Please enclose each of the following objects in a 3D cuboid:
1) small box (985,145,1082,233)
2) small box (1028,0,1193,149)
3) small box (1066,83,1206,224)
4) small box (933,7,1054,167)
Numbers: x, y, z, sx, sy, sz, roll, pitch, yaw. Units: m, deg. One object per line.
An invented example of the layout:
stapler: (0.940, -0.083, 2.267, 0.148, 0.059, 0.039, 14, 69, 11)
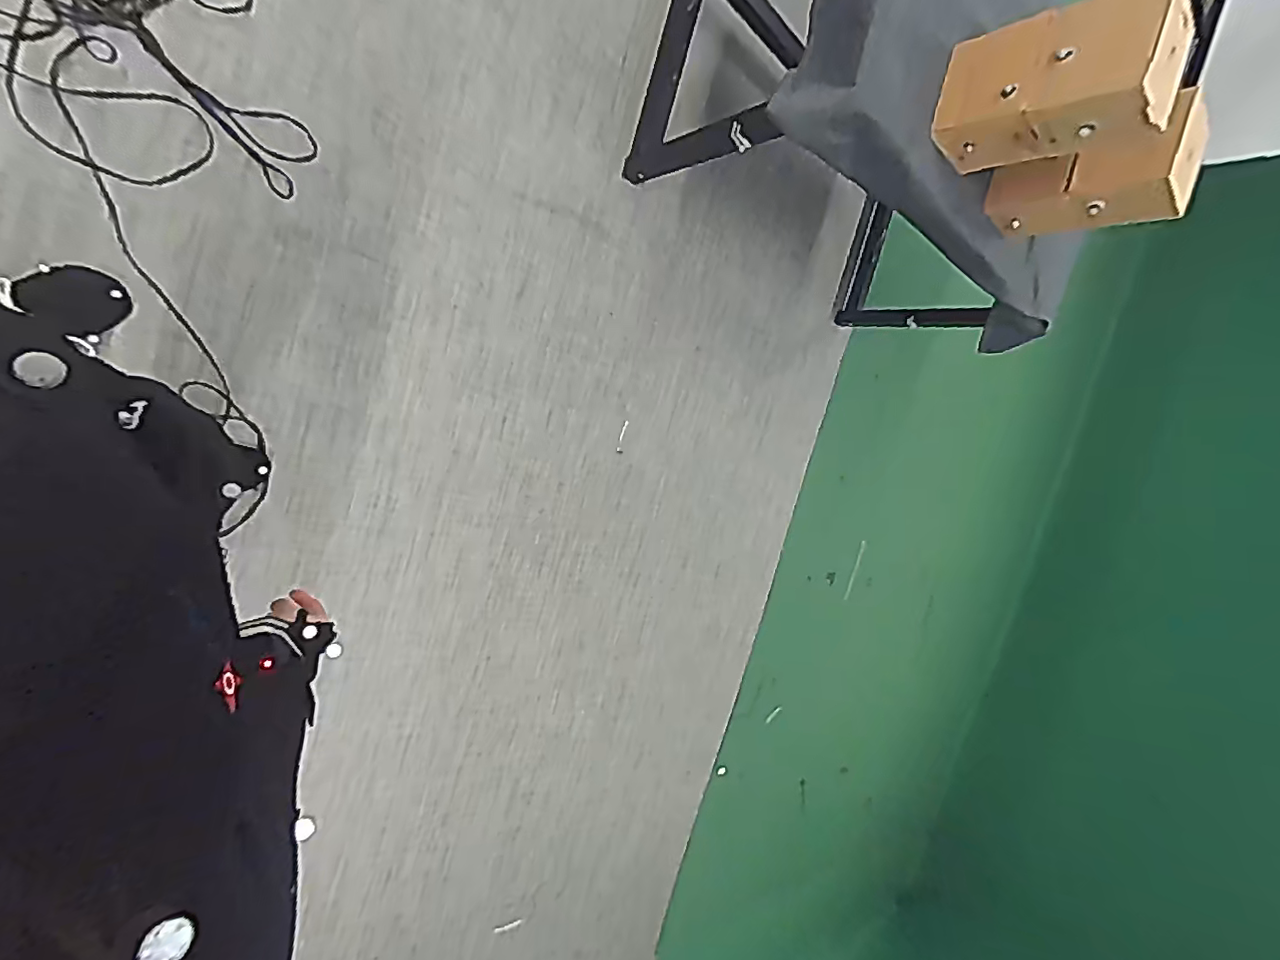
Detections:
small box: (0.931, -0.698, 1.251, 0.168, 0.176, 0.179, 11, 96, -39)
small box: (0.807, -0.712, 0.940, 0.168, 0.176, 0.179, 7, 100, -40)
small box: (1.025, -0.662, 1.124, 0.168, 0.176, 0.179, 13, 95, -38)
small box: (0.706, -0.753, 1.062, 0.168, 0.176, 0.179, 9, 98, -40)
